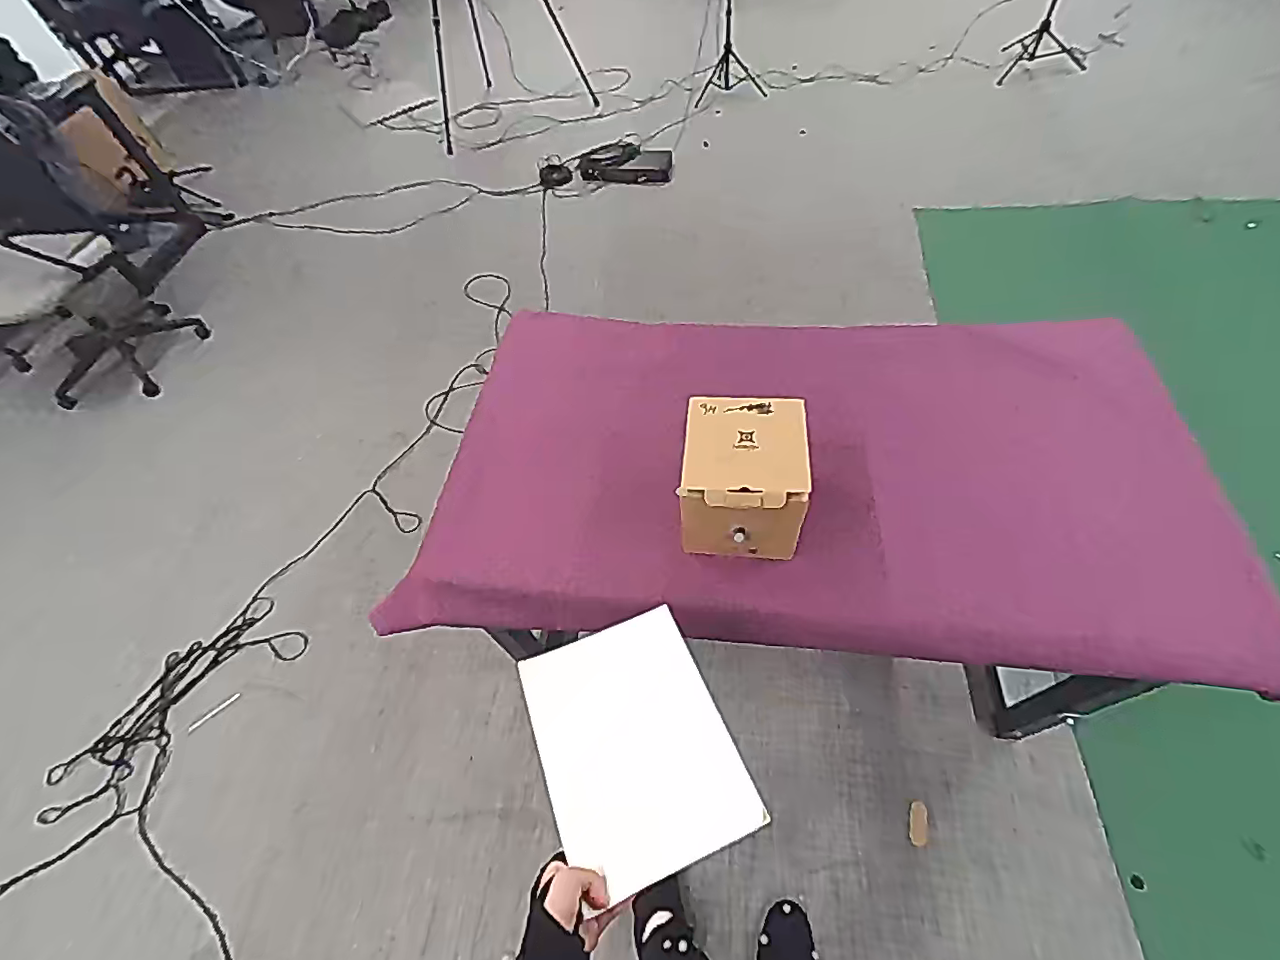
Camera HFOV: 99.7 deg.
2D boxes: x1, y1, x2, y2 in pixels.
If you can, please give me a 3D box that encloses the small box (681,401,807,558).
[{"bbox_3d":[0.155,0.003,0.809,0.168,0.176,0.179,3,56,9],"label":"small box"}]
